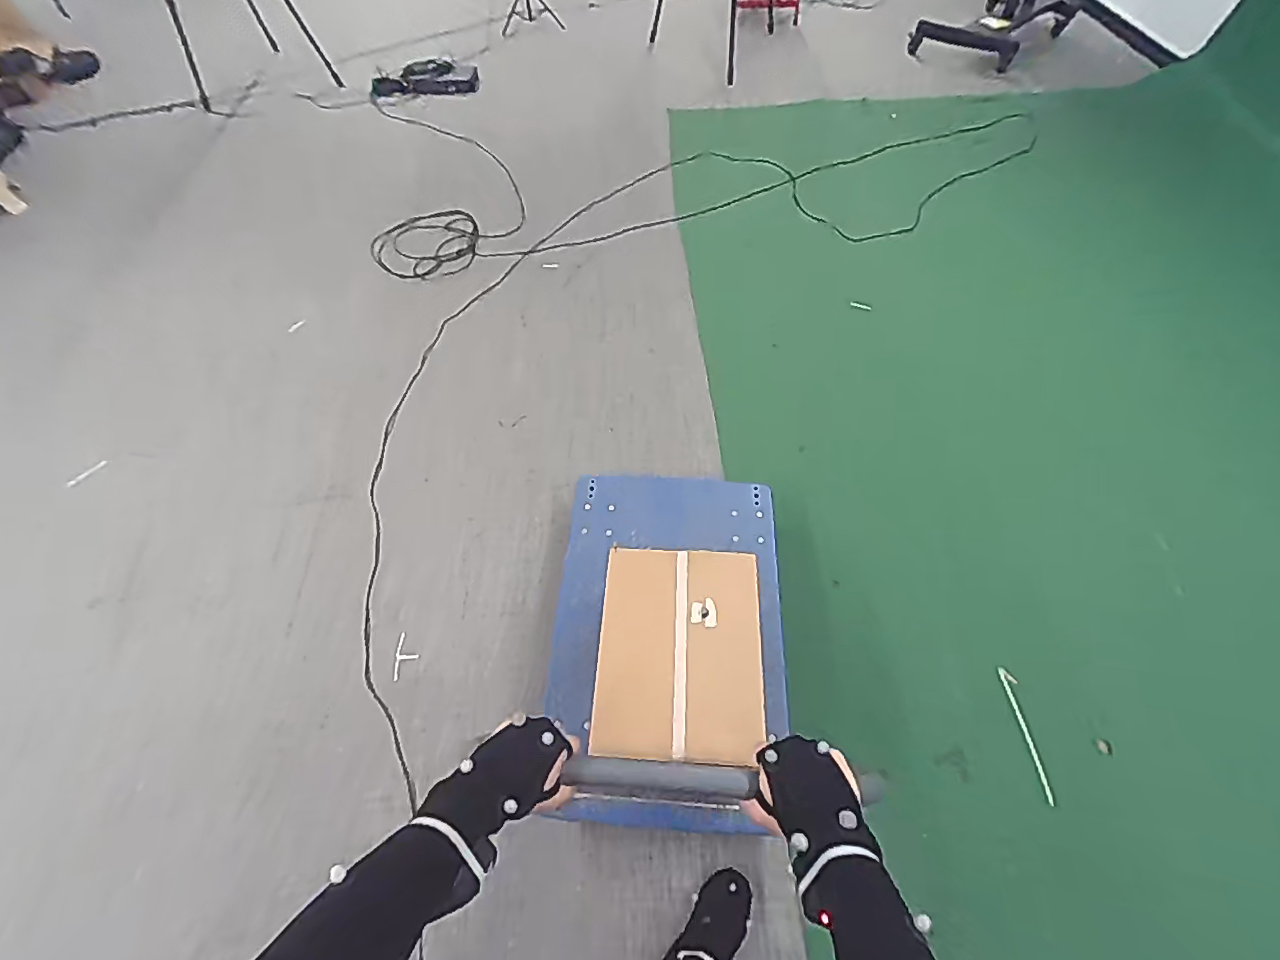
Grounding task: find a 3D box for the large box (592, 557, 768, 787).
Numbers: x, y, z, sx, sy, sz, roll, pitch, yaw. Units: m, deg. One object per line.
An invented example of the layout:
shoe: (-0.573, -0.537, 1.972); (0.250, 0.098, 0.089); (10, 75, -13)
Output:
large box: (0.082, 0.418, 1.168); (0.320, 0.320, 0.408); (2, 55, 3)
